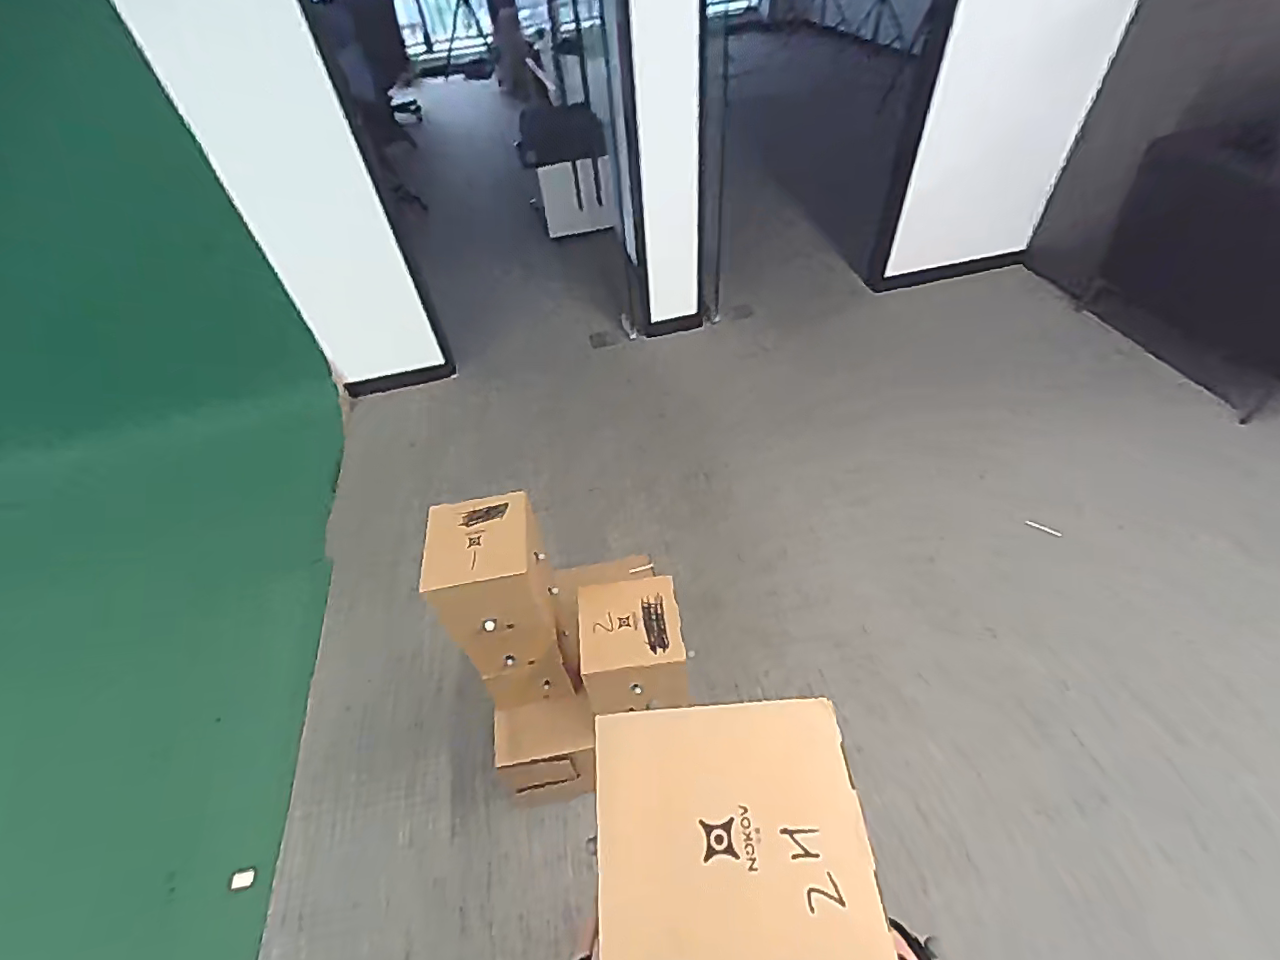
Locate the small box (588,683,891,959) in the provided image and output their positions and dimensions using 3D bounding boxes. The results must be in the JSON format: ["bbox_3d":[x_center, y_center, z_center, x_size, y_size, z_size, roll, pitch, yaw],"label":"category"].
[{"bbox_3d":[0.057,0.268,0.417,0.179,0.176,0.168,-4,55,-1],"label":"small box"}]

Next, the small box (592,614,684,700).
[{"bbox_3d":[-0.004,0.403,1.110,0.168,0.176,0.179,-9,45,-2],"label":"small box"}]

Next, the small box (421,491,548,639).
[{"bbox_3d":[-0.257,0.147,0.934,0.168,0.176,0.179,-10,47,-3],"label":"small box"}]

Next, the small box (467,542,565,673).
[{"bbox_3d":[-0.246,0.250,1.061,0.168,0.176,0.179,-10,48,-3],"label":"small box"}]

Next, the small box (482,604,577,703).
[{"bbox_3d":[-0.236,0.367,1.176,0.168,0.176,0.179,-10,45,-3],"label":"small box"}]
